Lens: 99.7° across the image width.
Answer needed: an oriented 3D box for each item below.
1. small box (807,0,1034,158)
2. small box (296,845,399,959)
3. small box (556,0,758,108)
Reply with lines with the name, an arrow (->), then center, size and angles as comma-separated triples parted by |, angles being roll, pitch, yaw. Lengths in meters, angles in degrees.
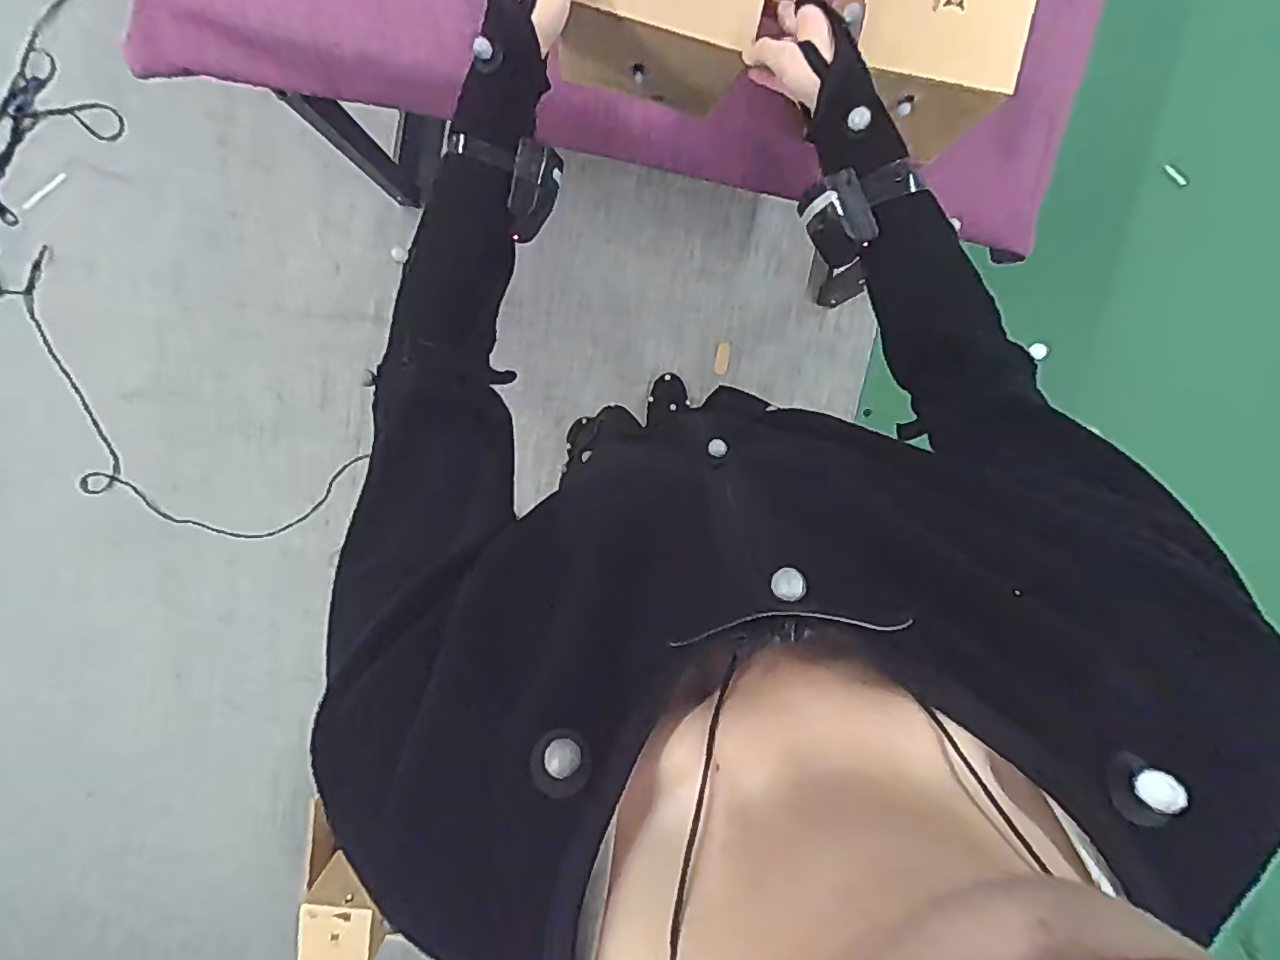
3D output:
small box -> 0.320, -0.509, 0.636 | 0.179, 0.176, 0.168 | 10, 98, 0
small box -> -0.712, 1.051, 1.332 | 0.168, 0.176, 0.179 | 7, 96, -2
small box -> 0.023, -0.478, 0.494 | 0.168, 0.176, 0.179 | 10, 107, -9
